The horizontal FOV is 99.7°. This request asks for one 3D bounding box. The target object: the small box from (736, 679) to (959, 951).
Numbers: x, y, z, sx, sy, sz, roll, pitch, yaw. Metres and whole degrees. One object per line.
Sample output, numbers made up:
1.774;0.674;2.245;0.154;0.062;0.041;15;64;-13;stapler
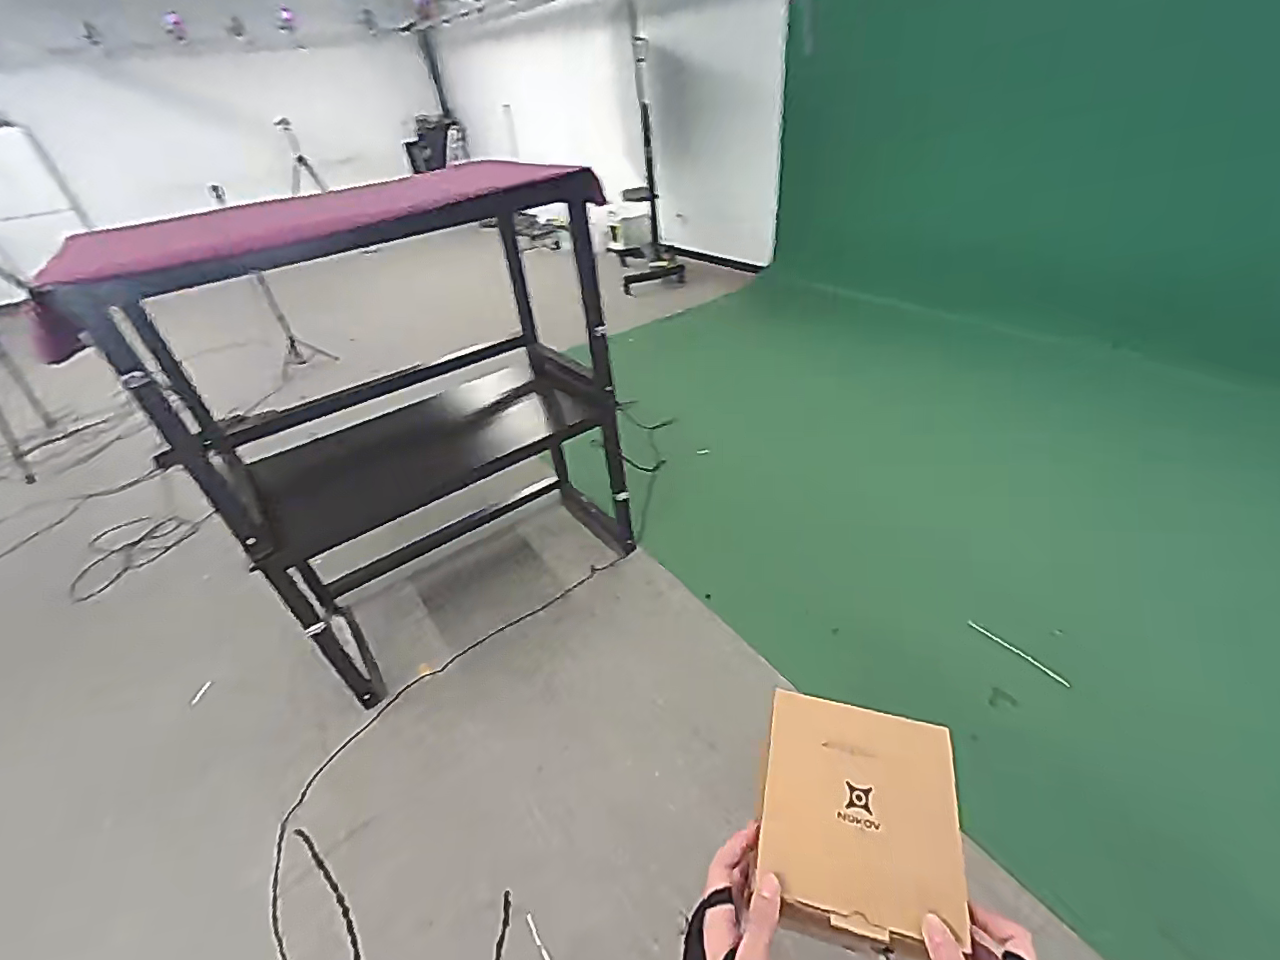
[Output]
0.191;0.333;0.537;0.168;0.176;0.179;9;47;12;small box
